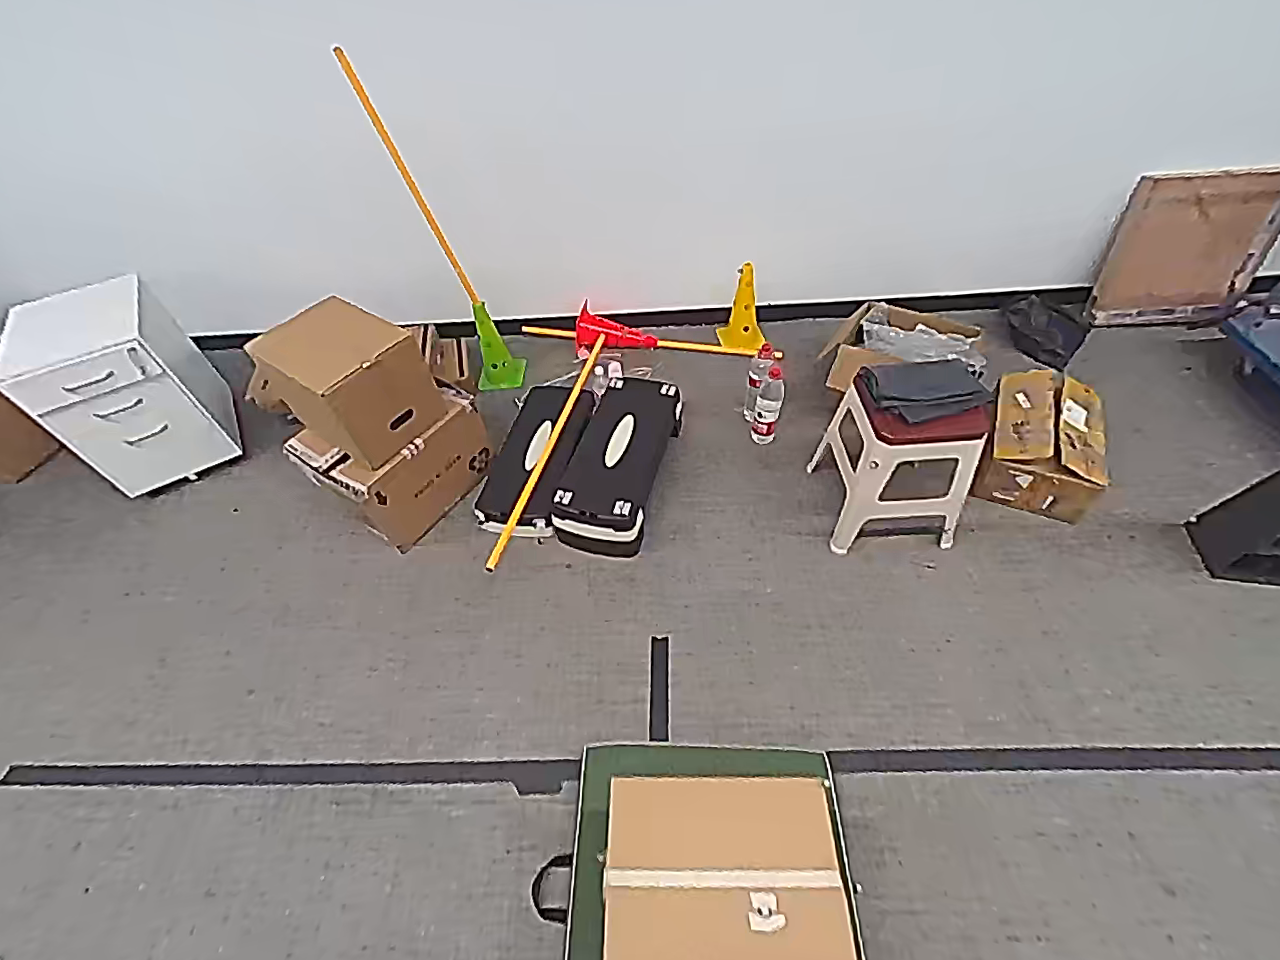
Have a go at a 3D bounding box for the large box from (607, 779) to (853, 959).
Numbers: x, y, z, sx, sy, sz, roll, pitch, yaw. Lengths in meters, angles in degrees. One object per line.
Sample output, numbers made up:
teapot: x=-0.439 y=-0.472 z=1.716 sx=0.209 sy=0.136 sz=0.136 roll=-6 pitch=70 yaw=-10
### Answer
large box: x=0.148 y=0.794 z=1.051 sx=0.408 sy=0.320 sz=0.320 roll=-2 pitch=49 yaw=2
